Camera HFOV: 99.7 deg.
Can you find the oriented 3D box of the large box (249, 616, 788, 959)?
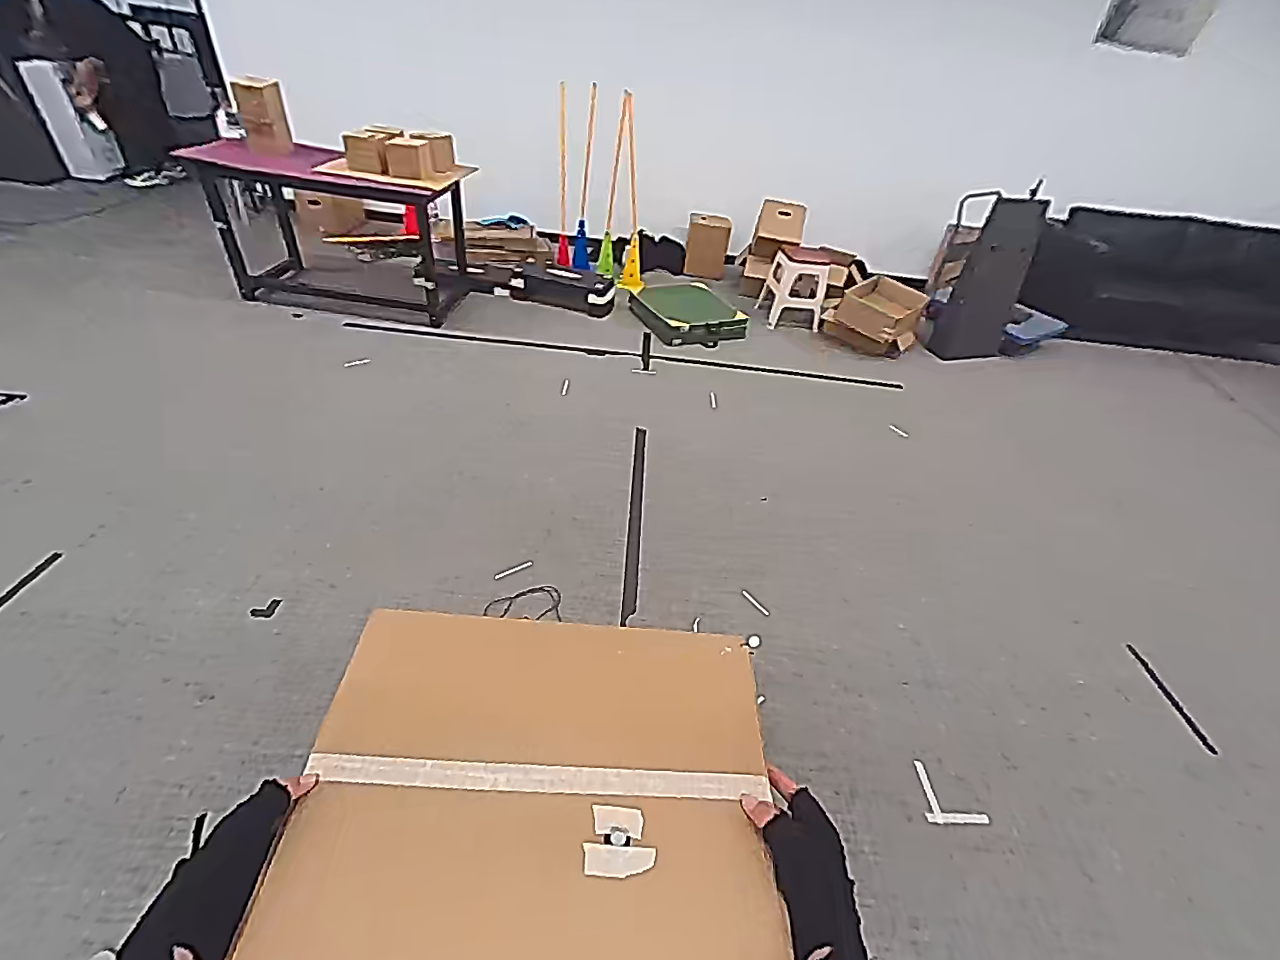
[{"bbox_3d":[-0.101,0.375,0.593,0.408,0.320,0.320,6,45,-4],"label":"large box"}]
